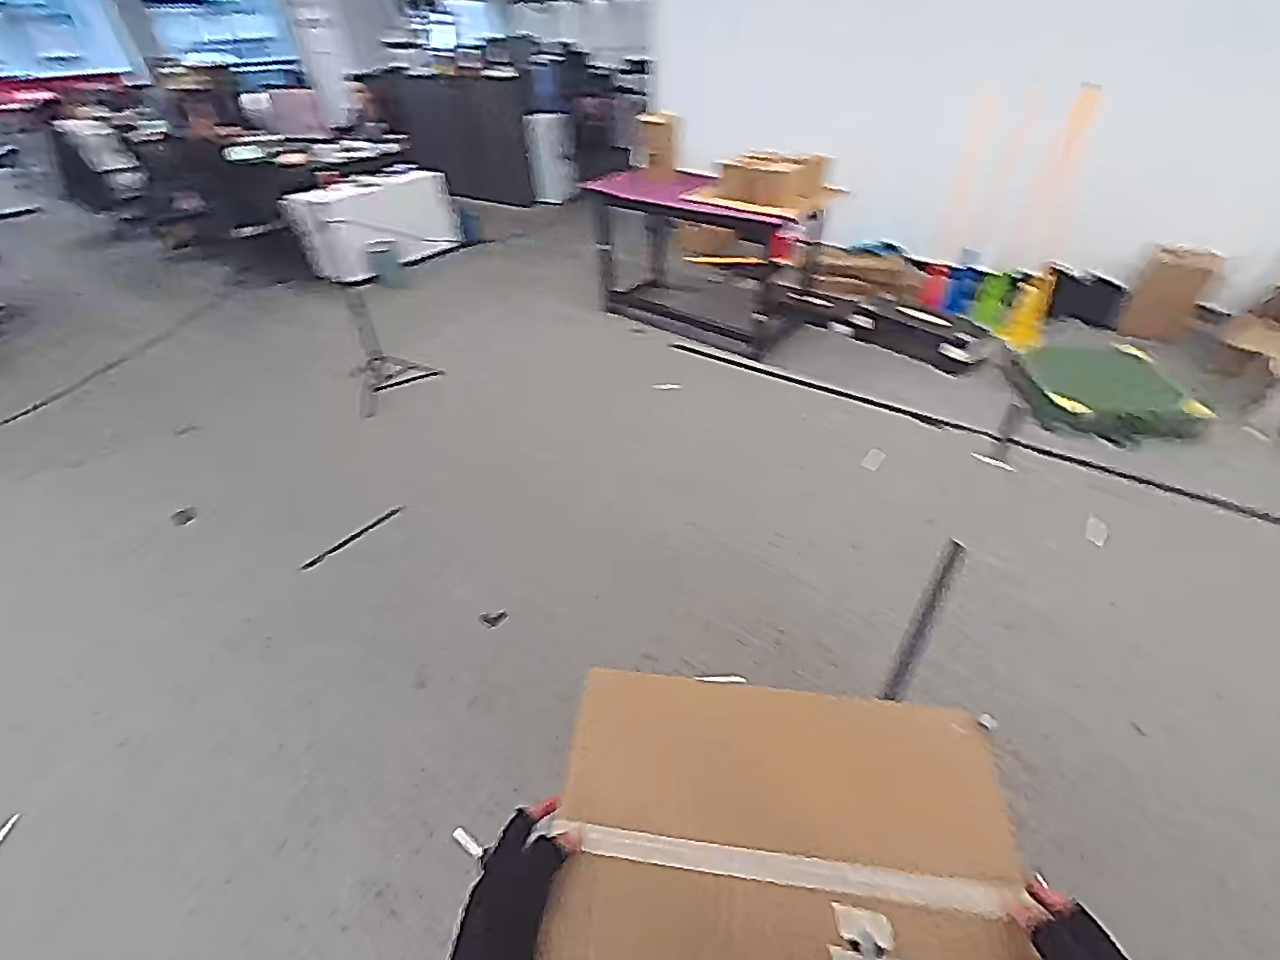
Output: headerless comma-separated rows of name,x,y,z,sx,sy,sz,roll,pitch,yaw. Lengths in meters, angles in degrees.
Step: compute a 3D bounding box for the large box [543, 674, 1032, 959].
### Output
large box,0.132,0.442,0.598,0.408,0.320,0.320,4,49,7
